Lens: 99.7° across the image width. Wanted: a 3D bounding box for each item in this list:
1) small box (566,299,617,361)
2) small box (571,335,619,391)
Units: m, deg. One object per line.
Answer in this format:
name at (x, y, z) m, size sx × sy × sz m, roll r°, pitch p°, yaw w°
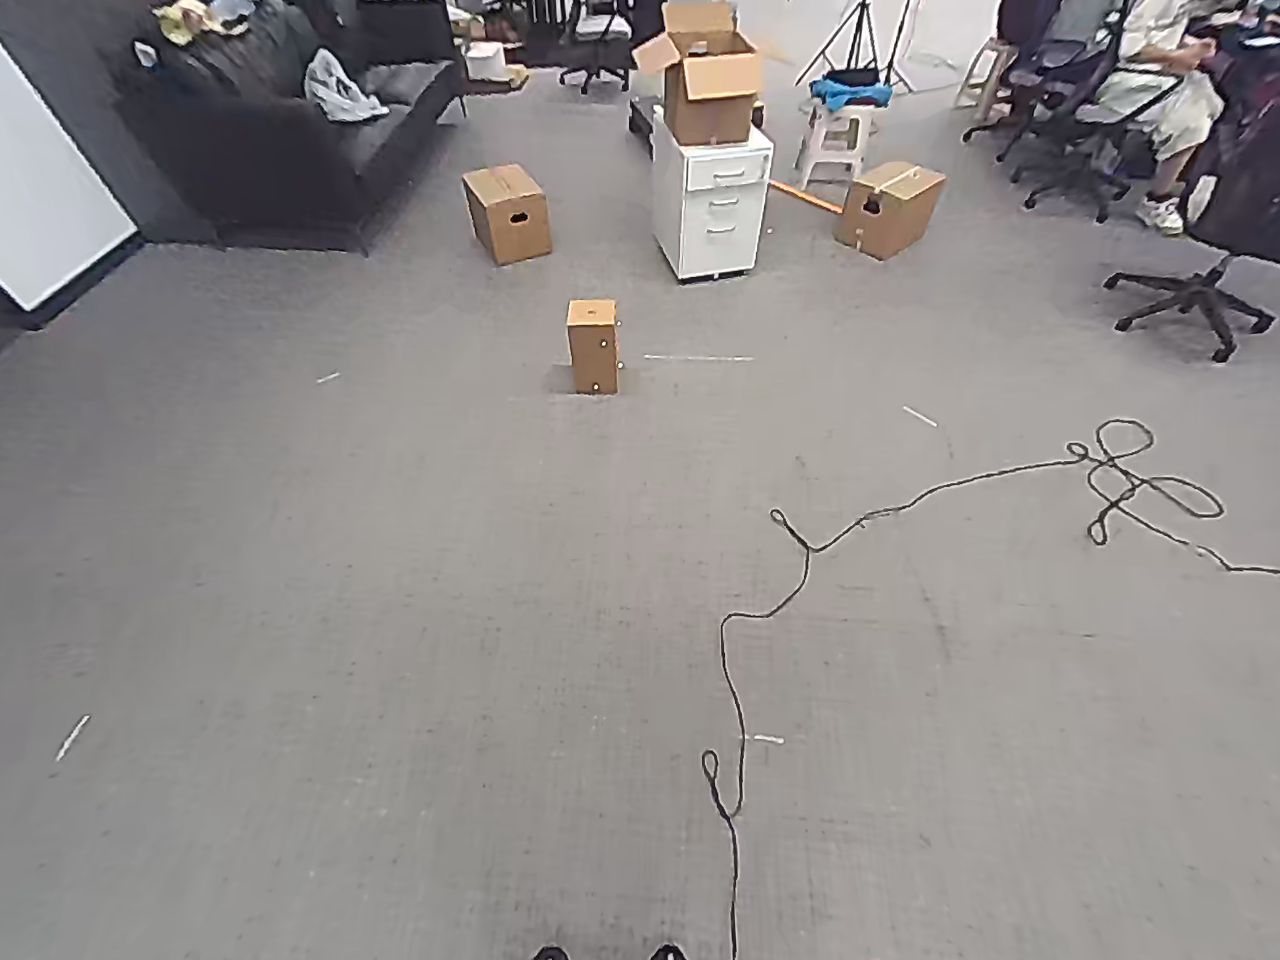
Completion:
small box at (-0.179, -0.569, 2.060) m, size 0.179 × 0.176 × 0.168 m, roll -2°, pitch 50°, yaw 1°
small box at (-0.177, -0.474, 2.193) m, size 0.179 × 0.176 × 0.168 m, roll 1°, pitch 51°, yaw 1°
